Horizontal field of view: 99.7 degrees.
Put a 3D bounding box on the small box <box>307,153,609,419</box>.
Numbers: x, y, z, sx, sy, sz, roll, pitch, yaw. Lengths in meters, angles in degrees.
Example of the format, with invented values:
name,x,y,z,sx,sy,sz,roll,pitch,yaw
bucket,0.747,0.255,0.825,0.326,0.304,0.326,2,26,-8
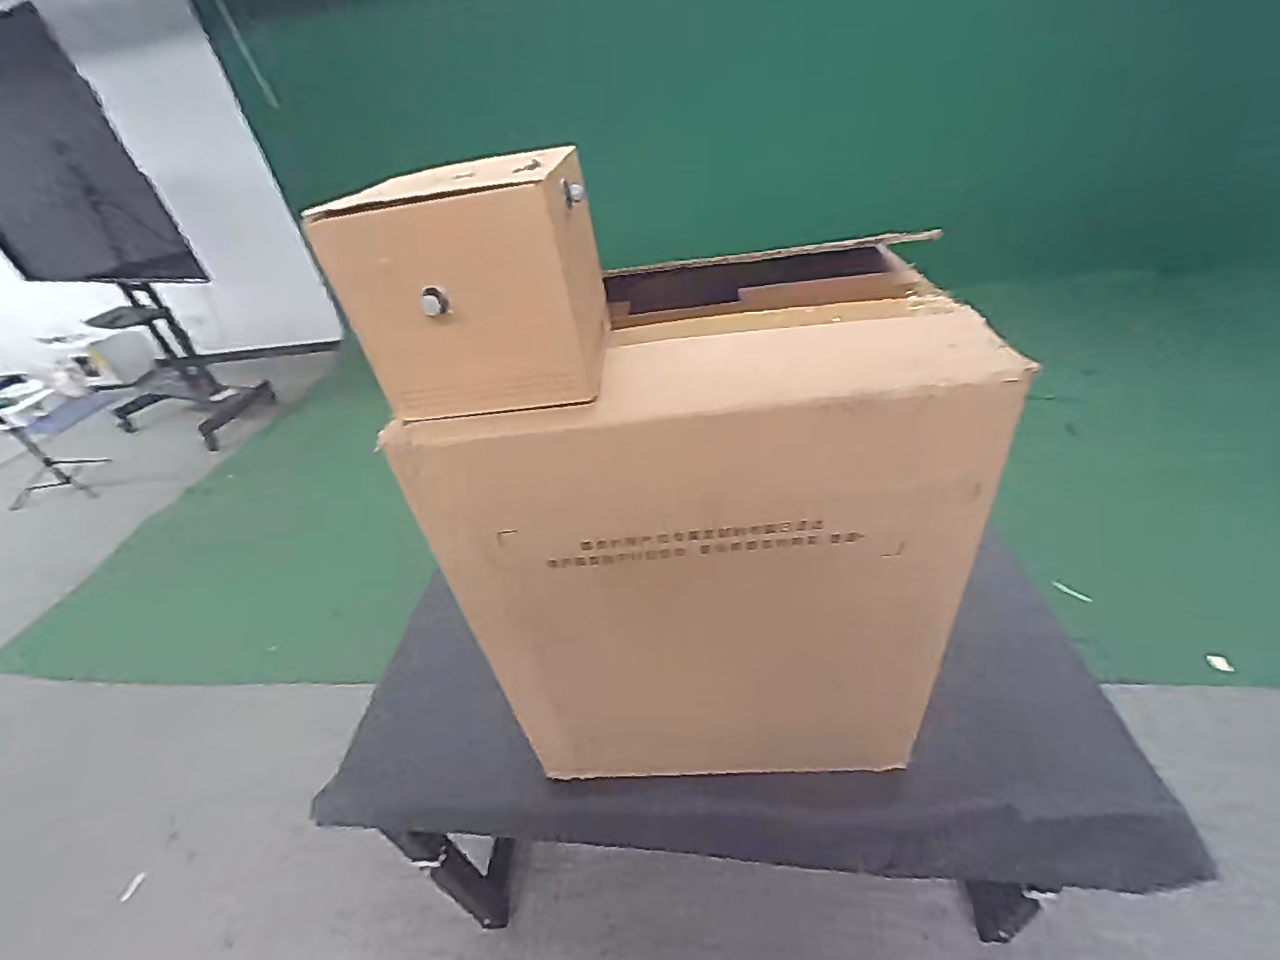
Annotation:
name,x,y,z,sx,sy,sz,roll,pitch,yaw
small box,-0.136,-0.168,0.481,0.179,0.176,0.168,-7,38,8
